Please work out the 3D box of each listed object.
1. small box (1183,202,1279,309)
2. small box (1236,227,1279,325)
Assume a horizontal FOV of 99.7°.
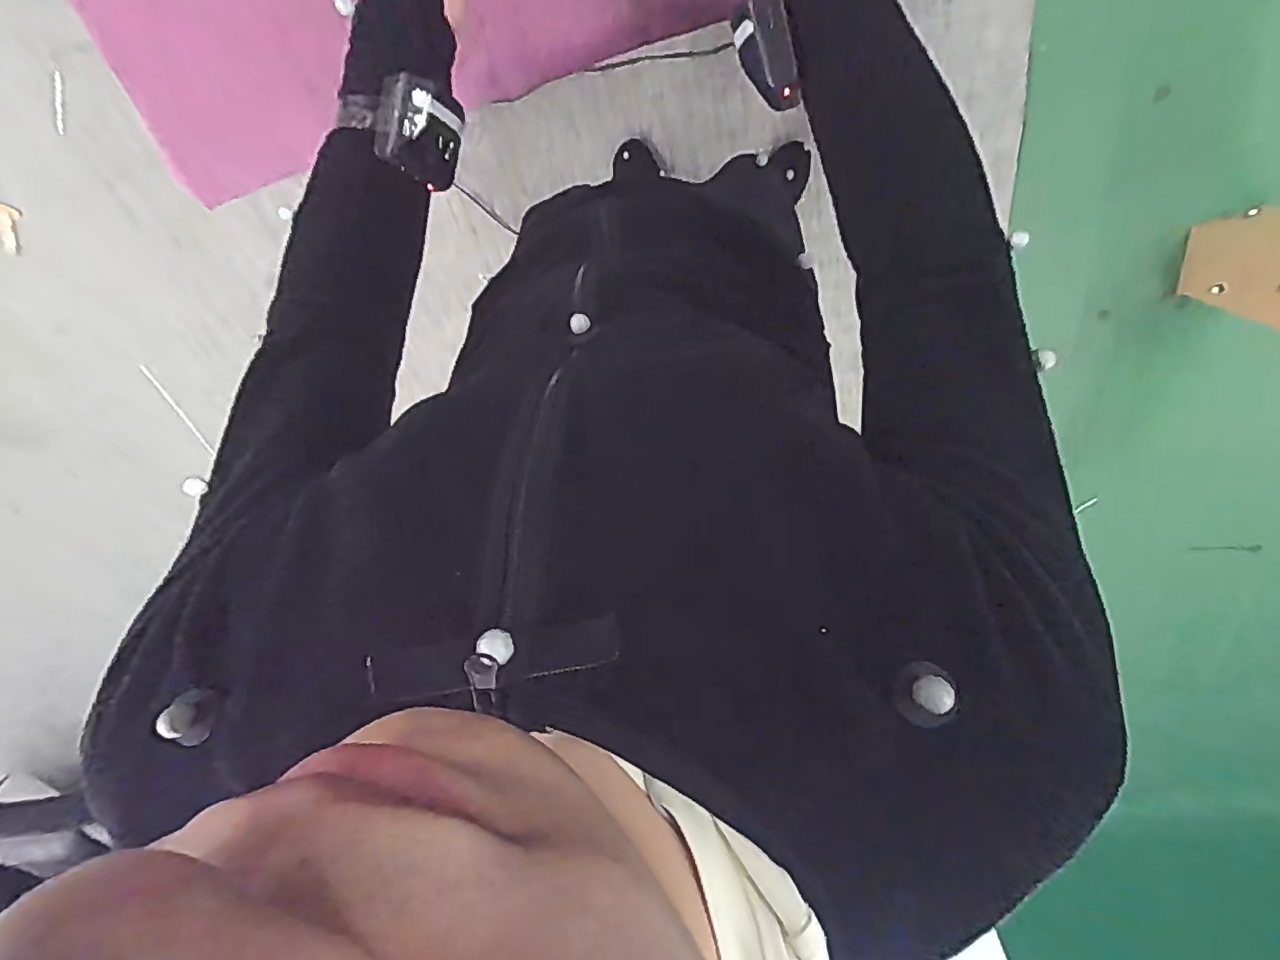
[{"bbox_3d":[1.458,-0.536,1.284,0.168,0.176,0.179,-13,123,12],"label":"small box"},{"bbox_3d":[1.449,-0.444,1.151,0.168,0.176,0.179,-11,122,12],"label":"small box"}]
